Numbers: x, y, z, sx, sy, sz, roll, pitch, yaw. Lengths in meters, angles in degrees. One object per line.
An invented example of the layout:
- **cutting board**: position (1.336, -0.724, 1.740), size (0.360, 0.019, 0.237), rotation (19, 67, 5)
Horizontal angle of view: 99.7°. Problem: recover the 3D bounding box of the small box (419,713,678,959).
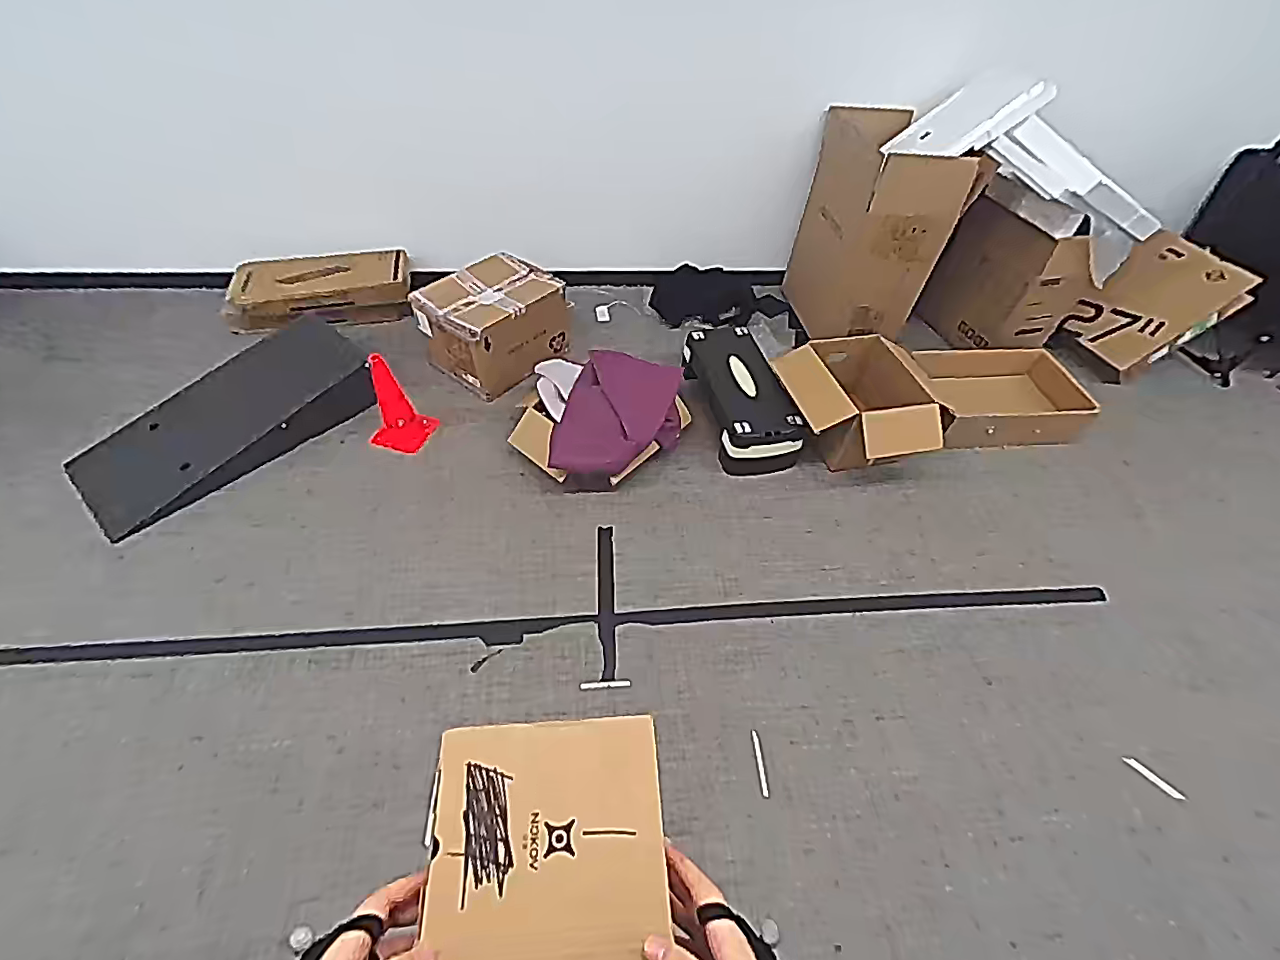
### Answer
- **small box**: position (-0.069, 0.313, 0.467), size (0.179, 0.176, 0.168), rotation (-1, 53, -6)
